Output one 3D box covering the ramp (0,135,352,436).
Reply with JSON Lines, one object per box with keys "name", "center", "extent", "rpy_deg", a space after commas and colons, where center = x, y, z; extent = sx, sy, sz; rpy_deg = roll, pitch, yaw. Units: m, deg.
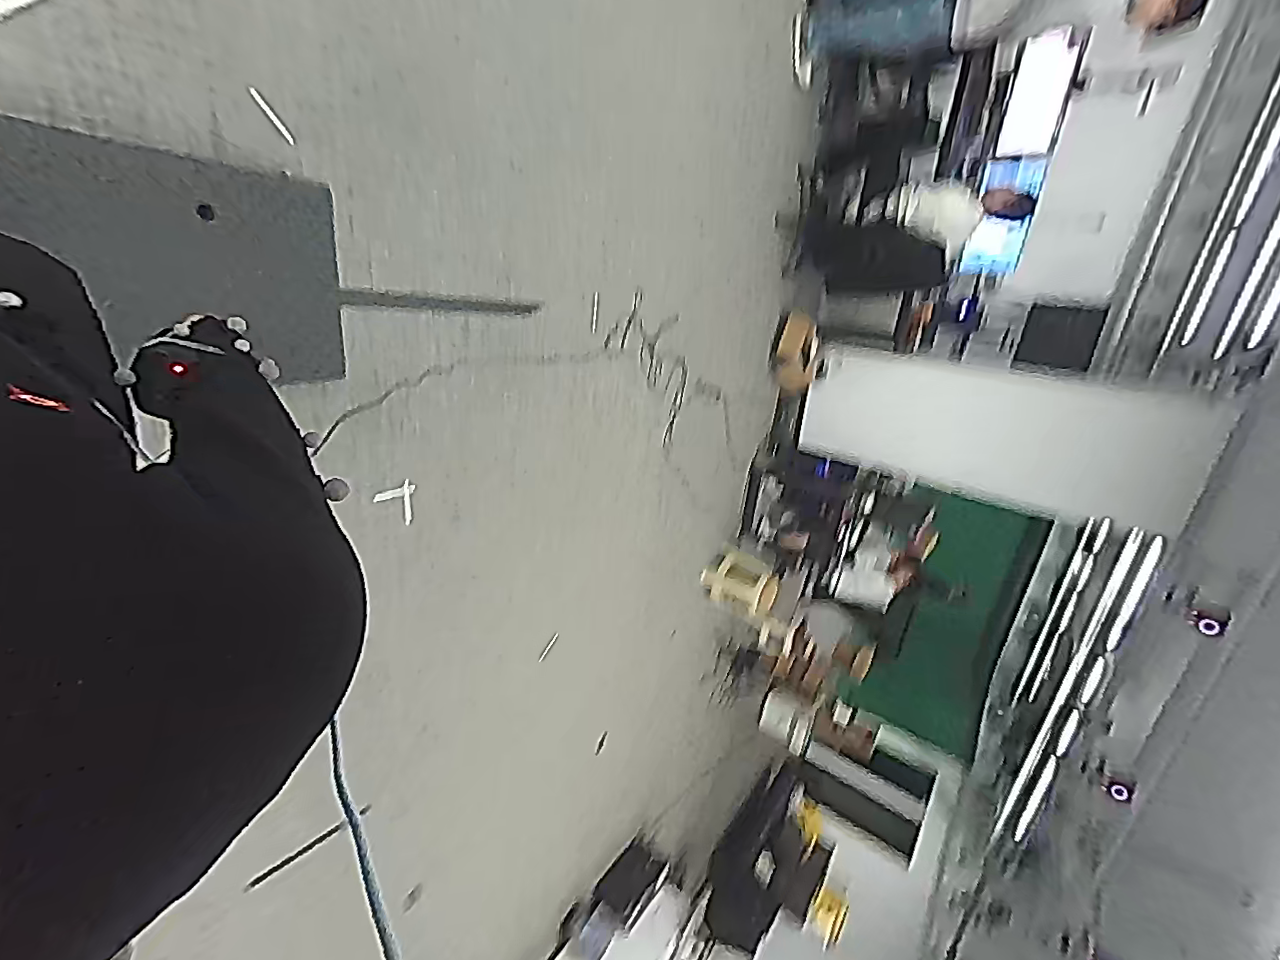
{"name": "ramp", "center": [-1.030, -0.360, 1.033], "extent": [0.991, 0.206, 0.509], "rpy_deg": [-23, 122, -49]}
